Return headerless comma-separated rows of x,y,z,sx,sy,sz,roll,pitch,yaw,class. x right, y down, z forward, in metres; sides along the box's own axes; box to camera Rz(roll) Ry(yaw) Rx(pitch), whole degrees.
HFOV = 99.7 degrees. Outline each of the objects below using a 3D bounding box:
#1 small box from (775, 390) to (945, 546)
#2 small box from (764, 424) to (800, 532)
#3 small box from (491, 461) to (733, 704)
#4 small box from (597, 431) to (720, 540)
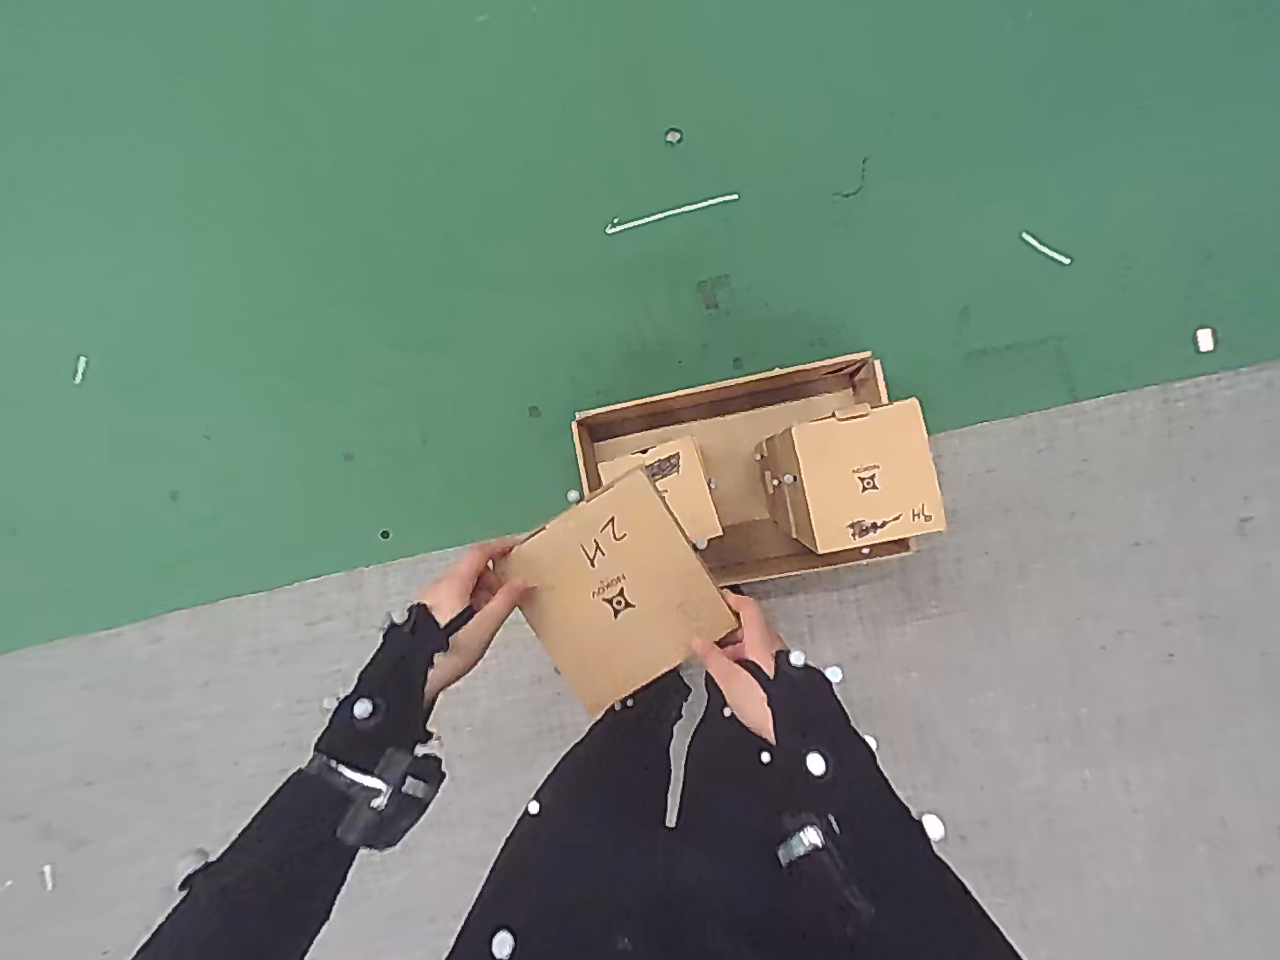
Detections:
0.298,-0.013,0.772,0.168,0.176,0.179,-13,88,7,small box
0.316,-0.014,0.935,0.168,0.176,0.179,-10,91,7,small box
-0.025,0.091,0.575,0.168,0.176,0.179,-32,93,1,small box
0.035,0.025,0.964,0.168,0.176,0.179,-18,90,5,small box
